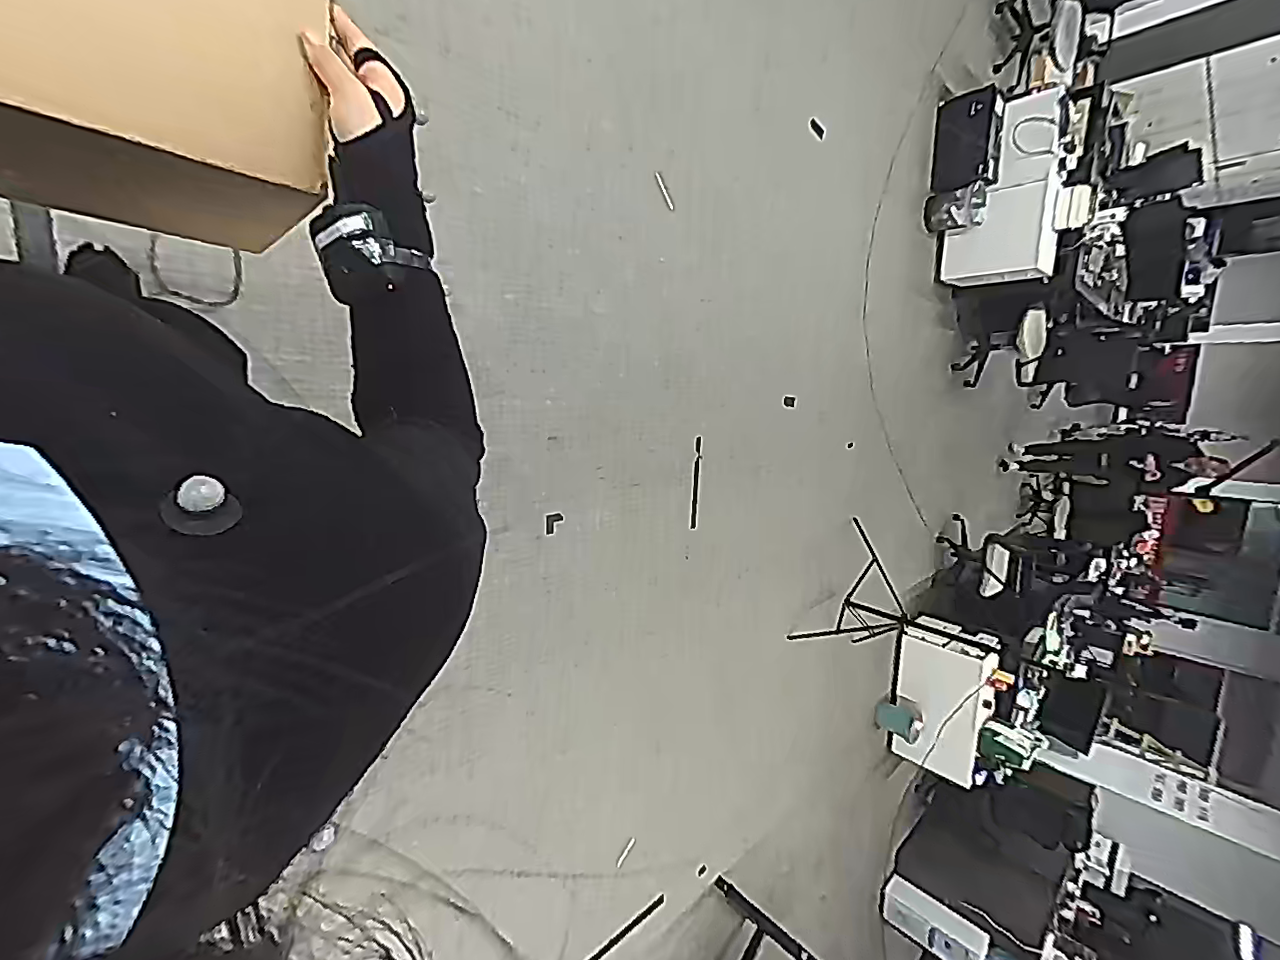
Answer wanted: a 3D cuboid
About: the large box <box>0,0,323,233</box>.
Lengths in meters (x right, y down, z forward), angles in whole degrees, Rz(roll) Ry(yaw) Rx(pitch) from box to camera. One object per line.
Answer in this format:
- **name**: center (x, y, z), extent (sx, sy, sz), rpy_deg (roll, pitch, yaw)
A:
- **large box**: center (-0.498, -0.412, 0.399), extent (0.408, 0.320, 0.320), rpy_deg (-3, 100, -43)
